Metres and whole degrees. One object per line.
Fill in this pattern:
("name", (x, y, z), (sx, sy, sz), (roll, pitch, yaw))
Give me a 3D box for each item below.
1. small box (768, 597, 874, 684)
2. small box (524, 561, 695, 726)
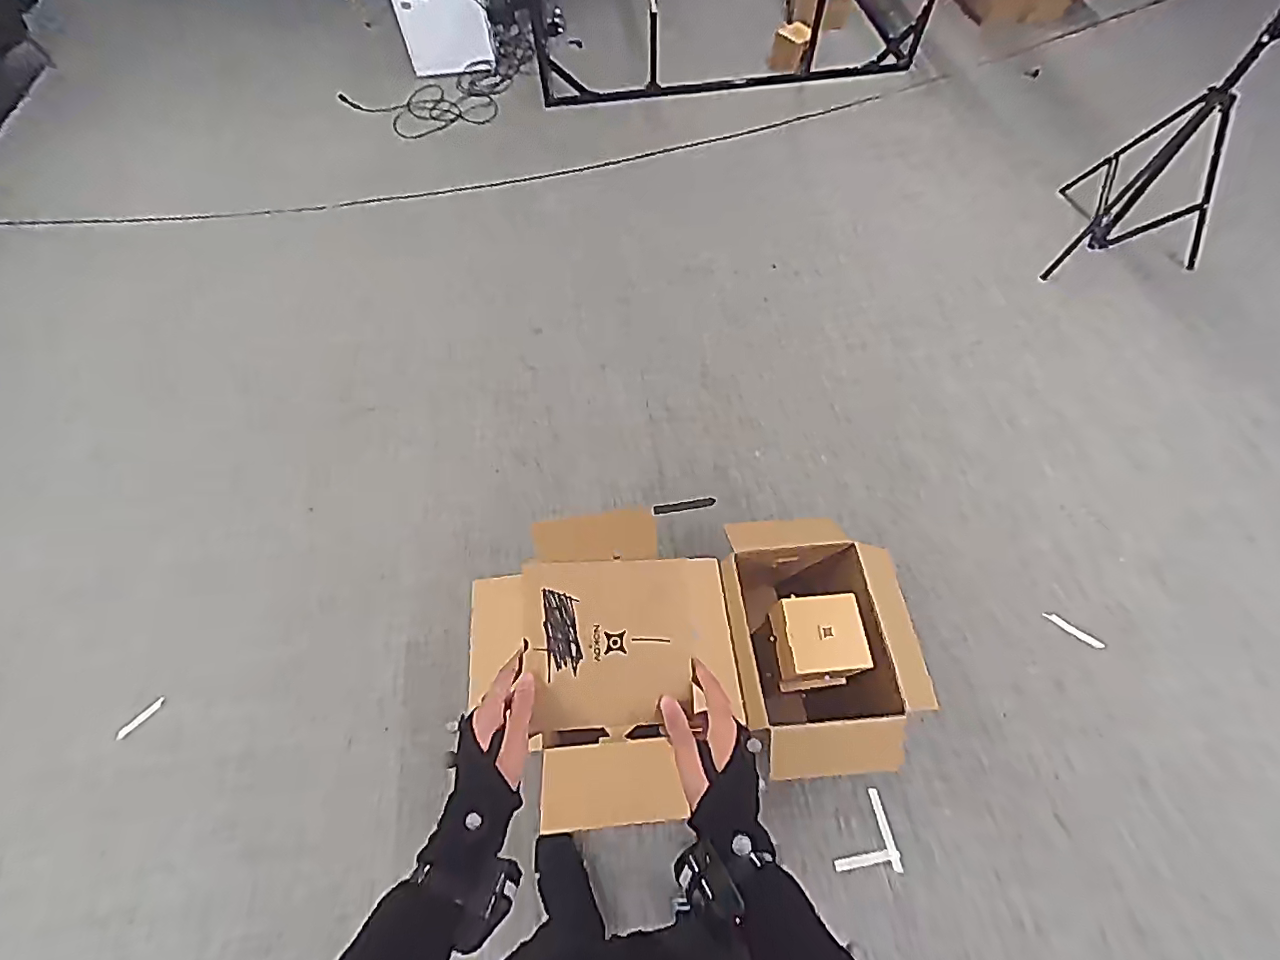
("small box", (0.416, 0.381, 1.274), (0.179, 0.176, 0.168), (-5, 64, -2))
("small box", (-0.030, 0.184, 0.637), (0.179, 0.176, 0.168), (-1, 79, 0))
